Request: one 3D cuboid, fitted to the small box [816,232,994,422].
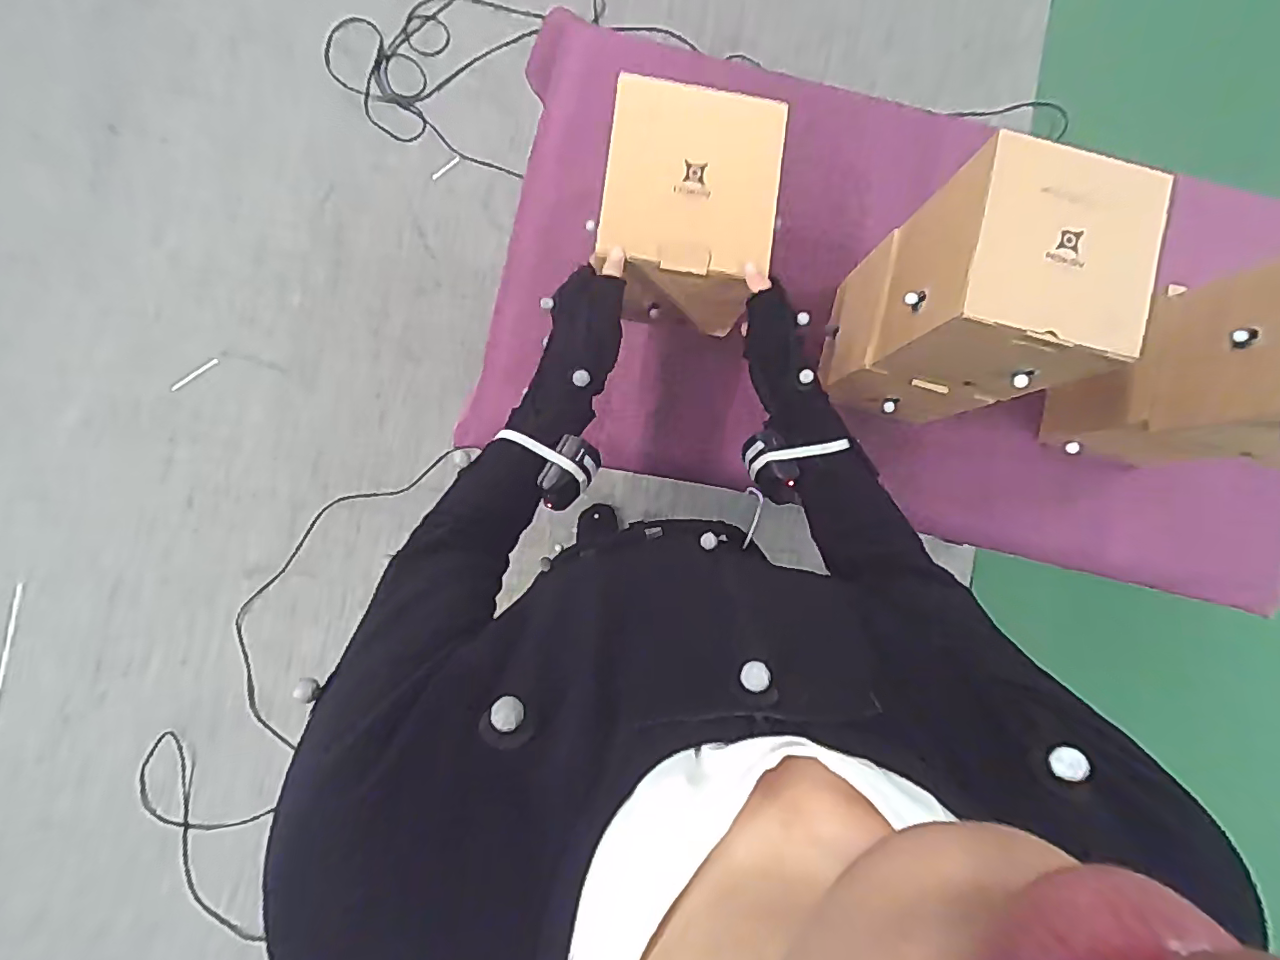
[{"bbox_3d":[0.351,-0.184,0.711,0.168,0.176,0.179,15,87,-3],"label":"small box"}]

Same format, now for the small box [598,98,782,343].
[{"bbox_3d":[0.044,-0.271,0.605,0.168,0.176,0.179,7,88,-4],"label":"small box"}]

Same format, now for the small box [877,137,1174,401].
[{"bbox_3d":[0.366,-0.192,0.548,0.168,0.176,0.179,15,86,-2],"label":"small box"}]

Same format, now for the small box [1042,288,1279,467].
[{"bbox_3d":[0.688,-0.121,0.722,0.168,0.176,0.179,16,87,-3],"label":"small box"}]
